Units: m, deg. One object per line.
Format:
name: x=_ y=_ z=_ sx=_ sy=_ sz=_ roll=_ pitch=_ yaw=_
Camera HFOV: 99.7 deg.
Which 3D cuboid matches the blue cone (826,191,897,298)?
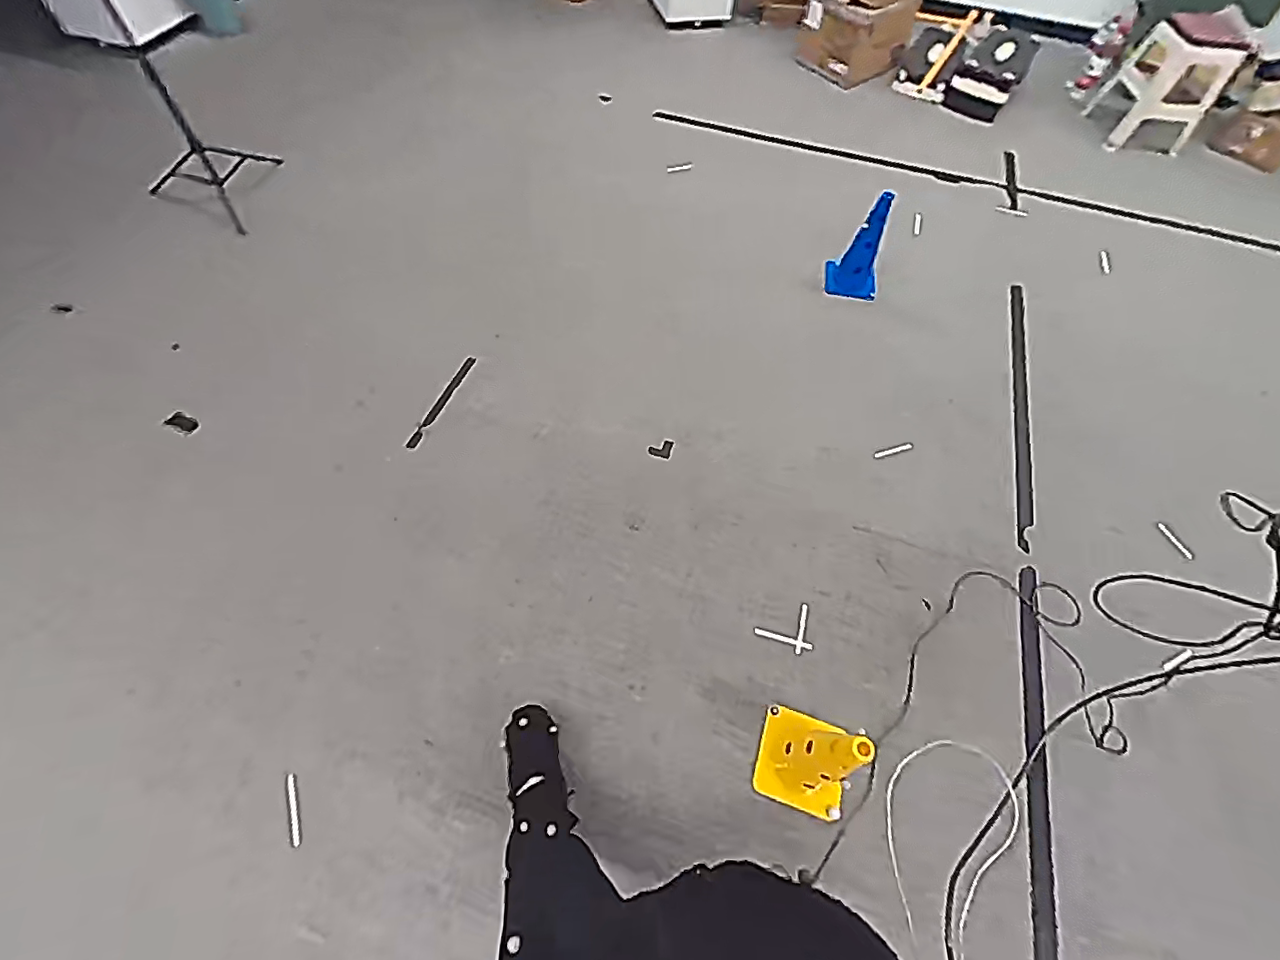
blue cone: x=0.847 y=-0.885 z=2.013 sx=0.192 sy=0.380 sz=0.193 roll=12 pitch=59 yaw=4
